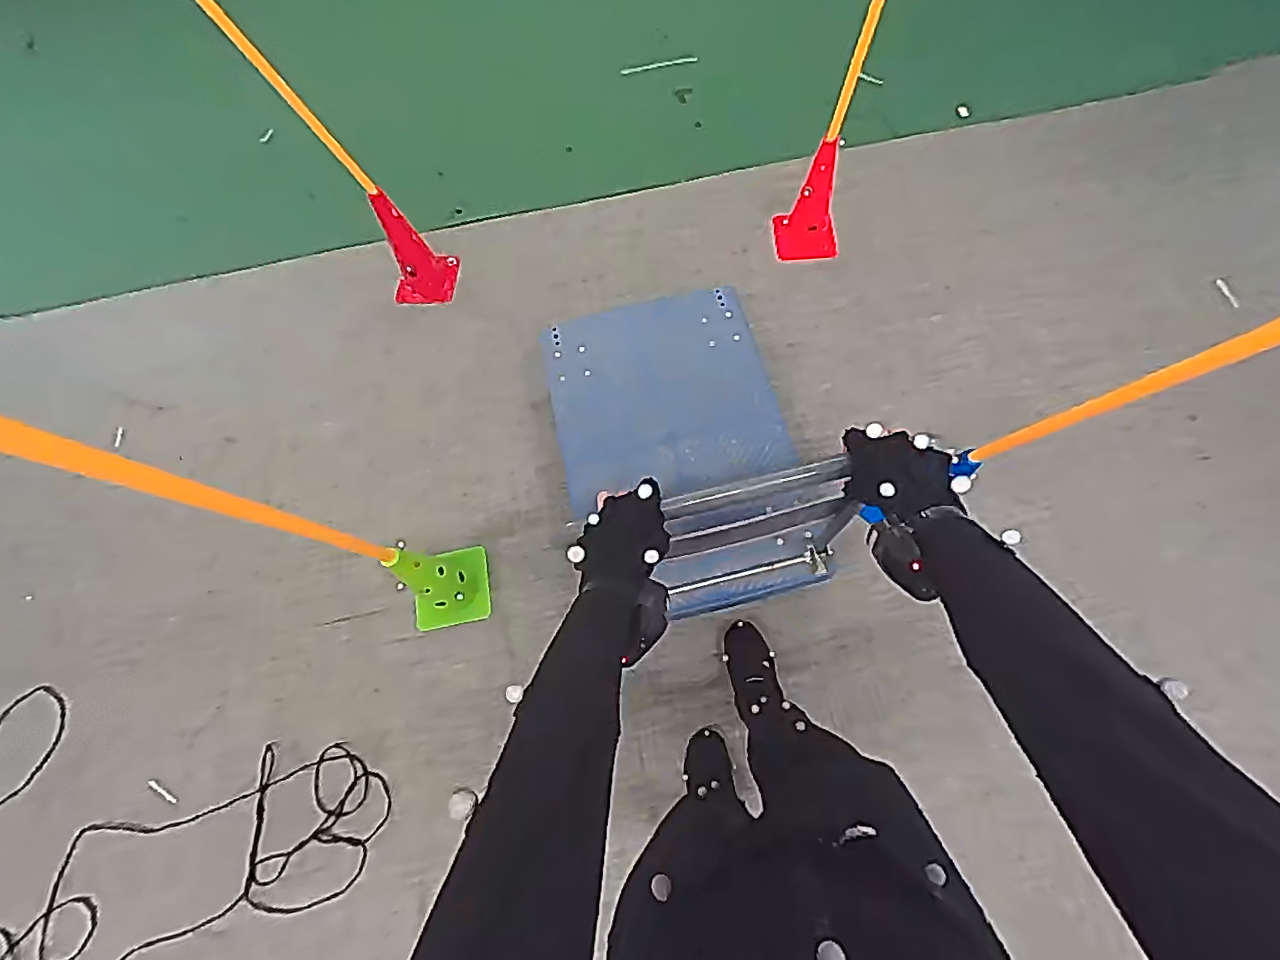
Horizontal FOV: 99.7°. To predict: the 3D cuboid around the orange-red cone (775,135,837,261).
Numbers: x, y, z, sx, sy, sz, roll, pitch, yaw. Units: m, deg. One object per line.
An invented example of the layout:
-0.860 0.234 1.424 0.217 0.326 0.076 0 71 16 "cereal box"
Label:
0.540 -0.876 1.653 0.198 0.360 0.199 -1 69 5 "orange-red cone"
